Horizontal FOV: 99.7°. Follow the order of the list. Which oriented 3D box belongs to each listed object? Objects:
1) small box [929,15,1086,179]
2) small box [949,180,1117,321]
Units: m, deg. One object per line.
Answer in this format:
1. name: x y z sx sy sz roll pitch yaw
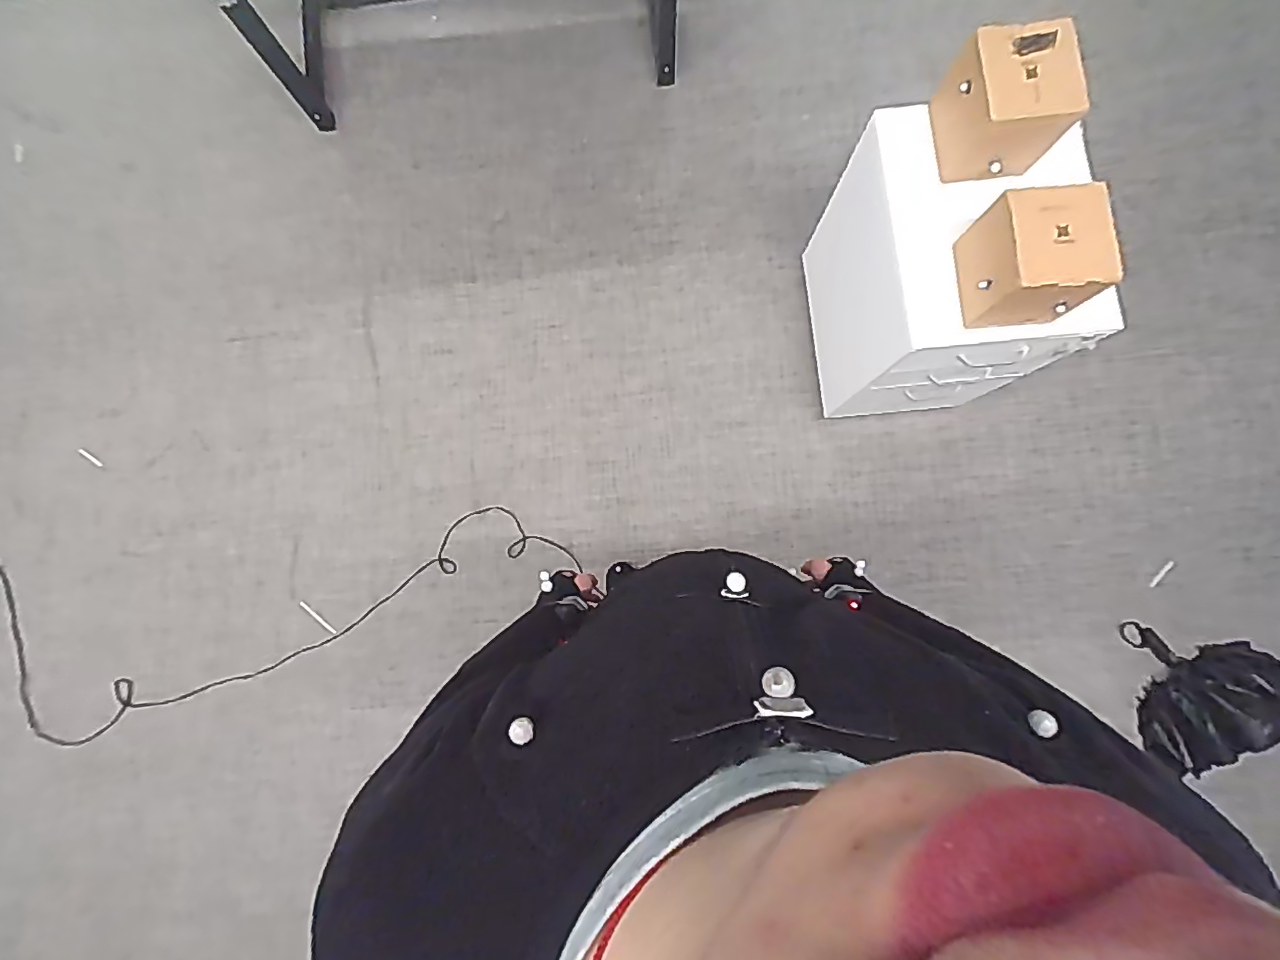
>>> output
1. small box: 0.658 -0.691 0.990 0.168 0.176 0.179 -6 86 0
2. small box: 0.683 -0.394 0.960 0.168 0.176 0.179 -4 82 -1
